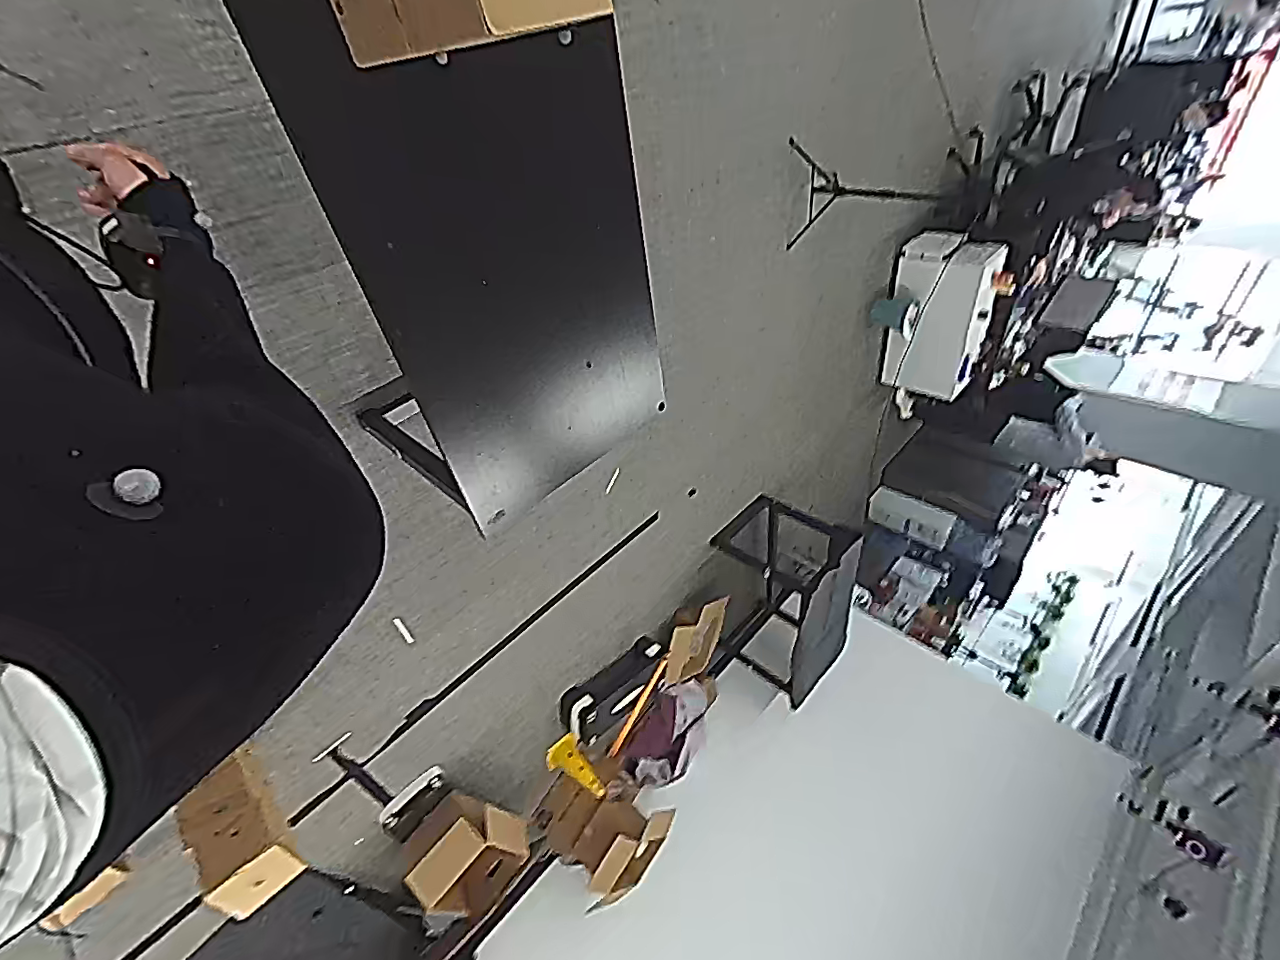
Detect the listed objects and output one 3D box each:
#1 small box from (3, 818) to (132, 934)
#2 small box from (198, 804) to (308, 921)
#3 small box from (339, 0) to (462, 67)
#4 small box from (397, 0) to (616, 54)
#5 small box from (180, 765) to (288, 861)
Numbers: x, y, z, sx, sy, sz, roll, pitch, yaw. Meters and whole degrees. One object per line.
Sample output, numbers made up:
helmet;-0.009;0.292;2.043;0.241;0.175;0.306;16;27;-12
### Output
small box;-1.523;1.051;1.444;0.168;0.176;0.179;-40;137;-28
small box;-1.034;1.017;1.447;0.168;0.176;0.179;-35;135;-30
small box;-0.272;-0.628;0.663;0.179;0.176;0.168;-39;137;-27
small box;-0.154;-0.568;0.564;0.179;0.176;0.168;-39;136;-28
small box;-1.156;0.956;1.537;0.179;0.176;0.168;-36;136;-28
